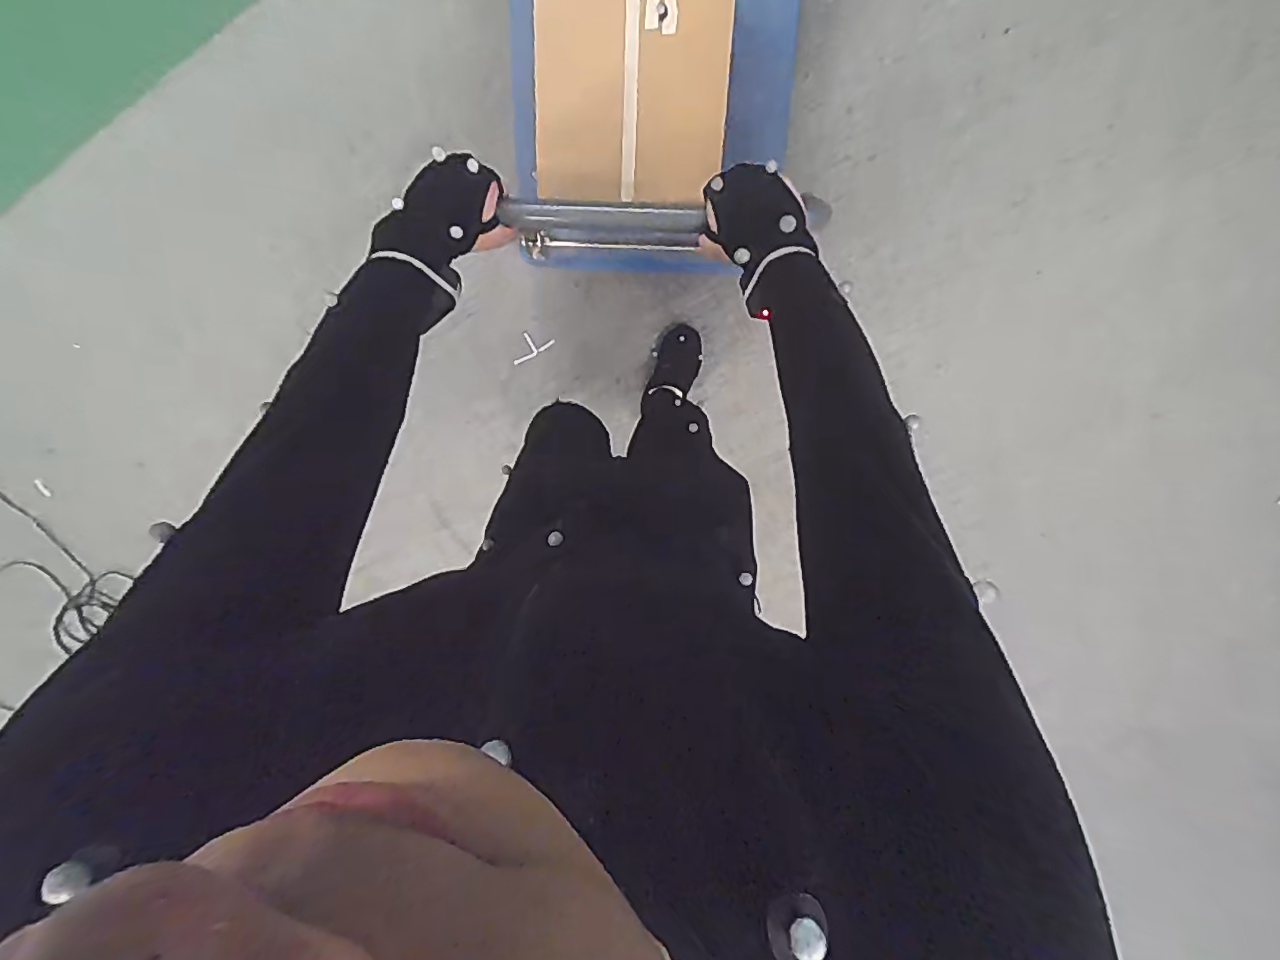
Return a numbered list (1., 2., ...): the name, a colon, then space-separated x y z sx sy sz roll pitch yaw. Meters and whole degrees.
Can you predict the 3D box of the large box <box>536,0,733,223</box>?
1. large box: -0.002 -0.720 1.015 0.320 0.320 0.408 4 110 3
